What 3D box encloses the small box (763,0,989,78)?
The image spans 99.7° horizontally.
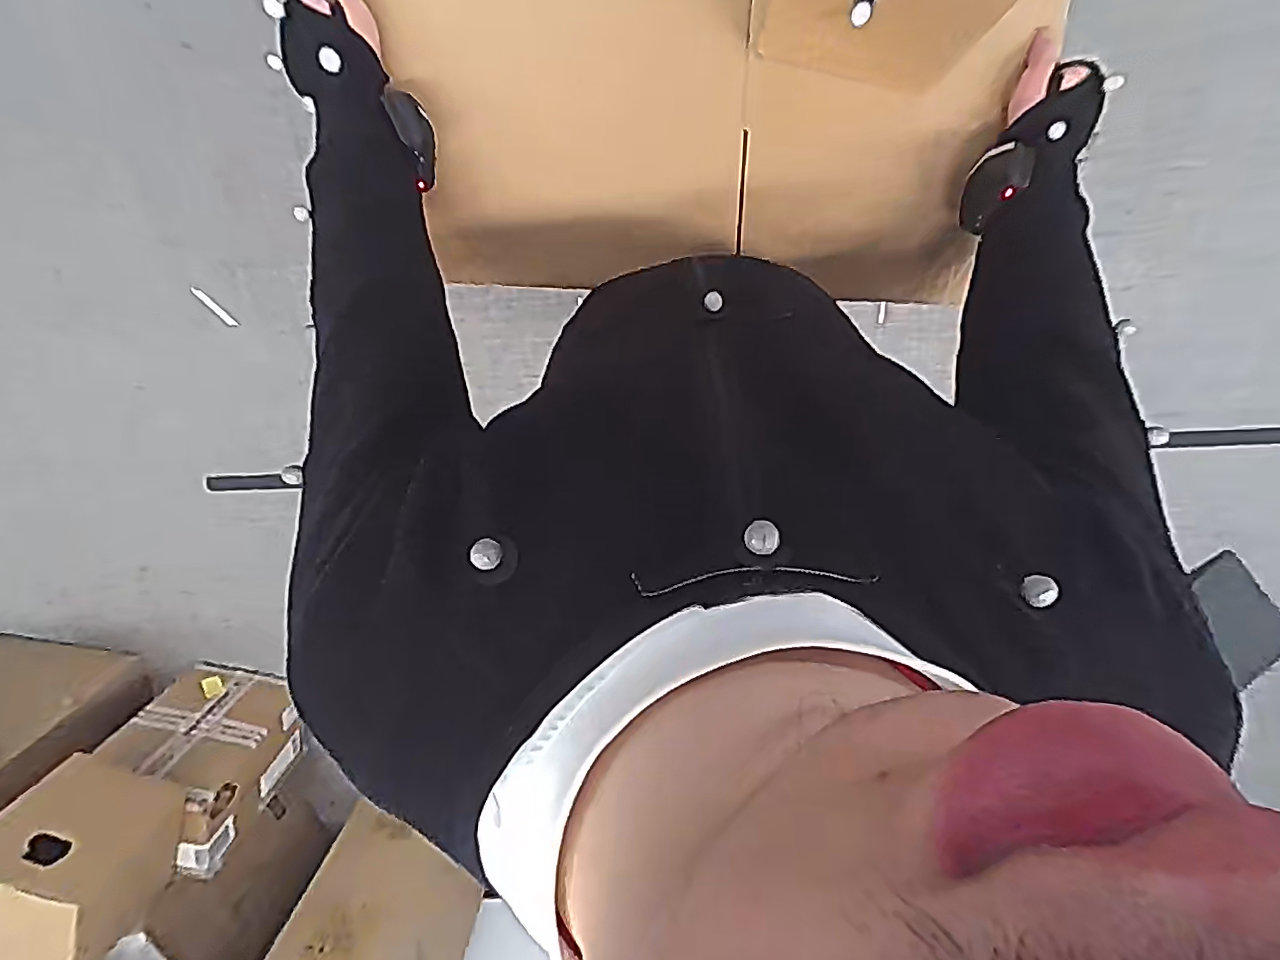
[{"bbox_3d":[0.211,-0.466,0.435,0.179,0.176,0.168,12,102,0],"label":"small box"}]
